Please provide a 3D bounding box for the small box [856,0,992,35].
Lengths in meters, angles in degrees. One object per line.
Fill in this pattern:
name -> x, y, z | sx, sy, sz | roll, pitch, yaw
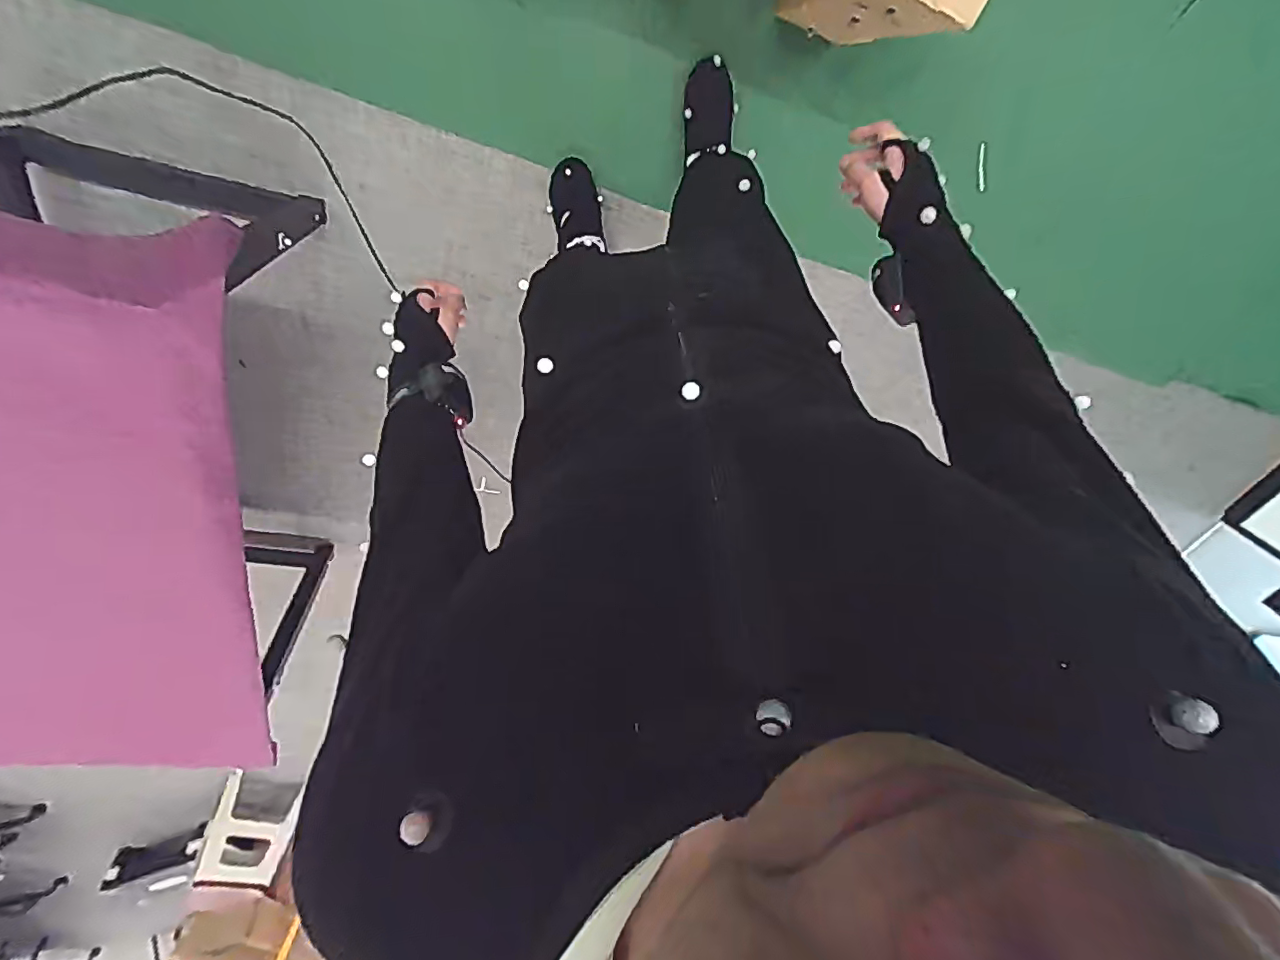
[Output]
small box -> 0.448, -0.808, 0.809 | 0.168, 0.176, 0.179 | 13, 125, -18

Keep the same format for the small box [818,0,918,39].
small box -> 0.430, -0.906, 0.940 | 0.168, 0.176, 0.179 | 11, 126, -18
